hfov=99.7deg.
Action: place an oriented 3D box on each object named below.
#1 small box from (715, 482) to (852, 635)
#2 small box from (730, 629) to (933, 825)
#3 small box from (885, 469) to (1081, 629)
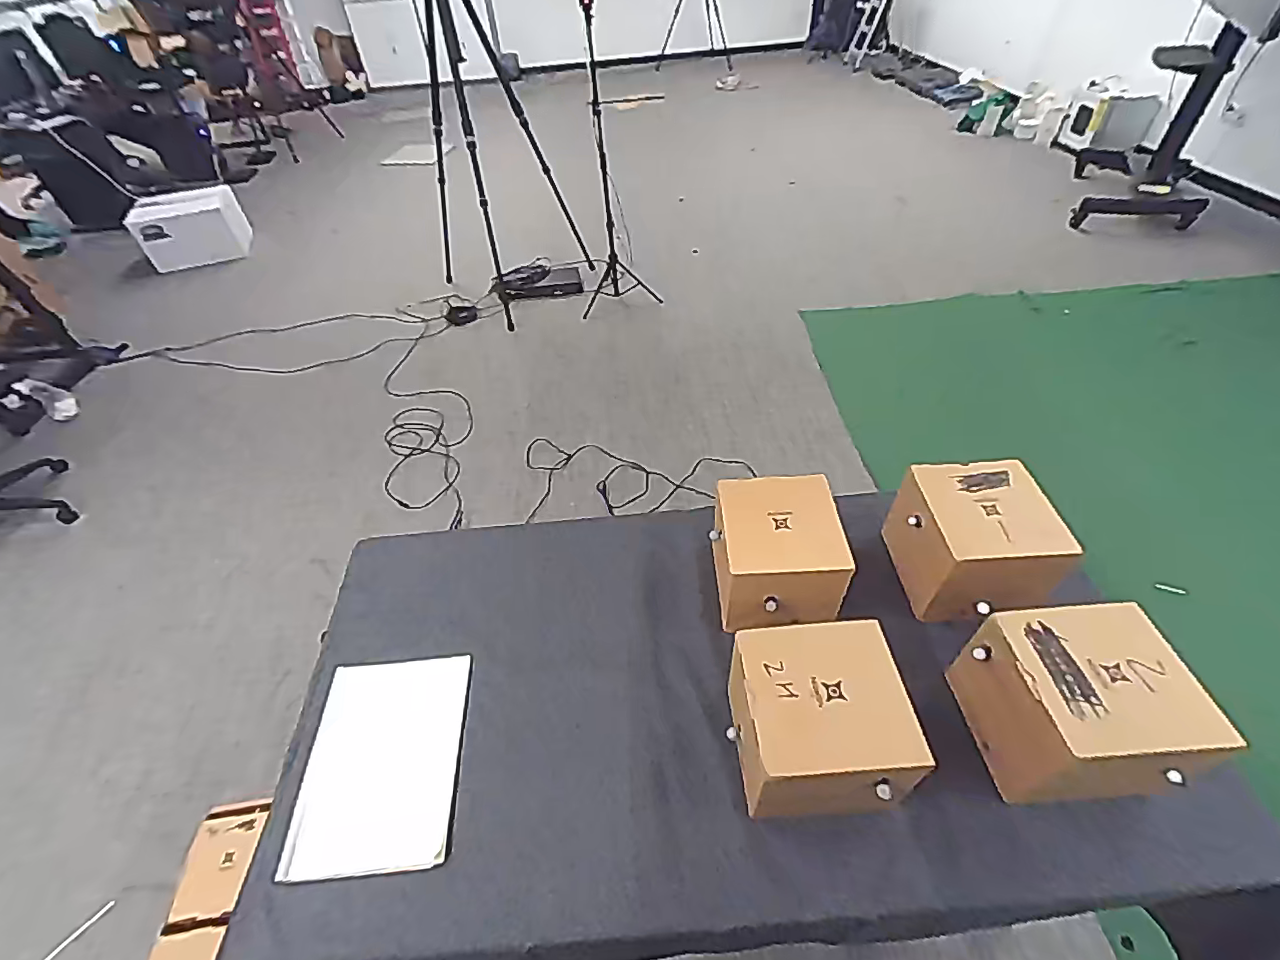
[{"bbox_3d":[0.205,0.126,0.826,0.168,0.176,0.179,-3,45,2],"label":"small box"},{"bbox_3d":[0.210,0.298,0.651,0.179,0.176,0.168,-5,44,1],"label":"small box"},{"bbox_3d":[0.494,0.105,0.817,0.168,0.176,0.179,-3,46,3],"label":"small box"}]
